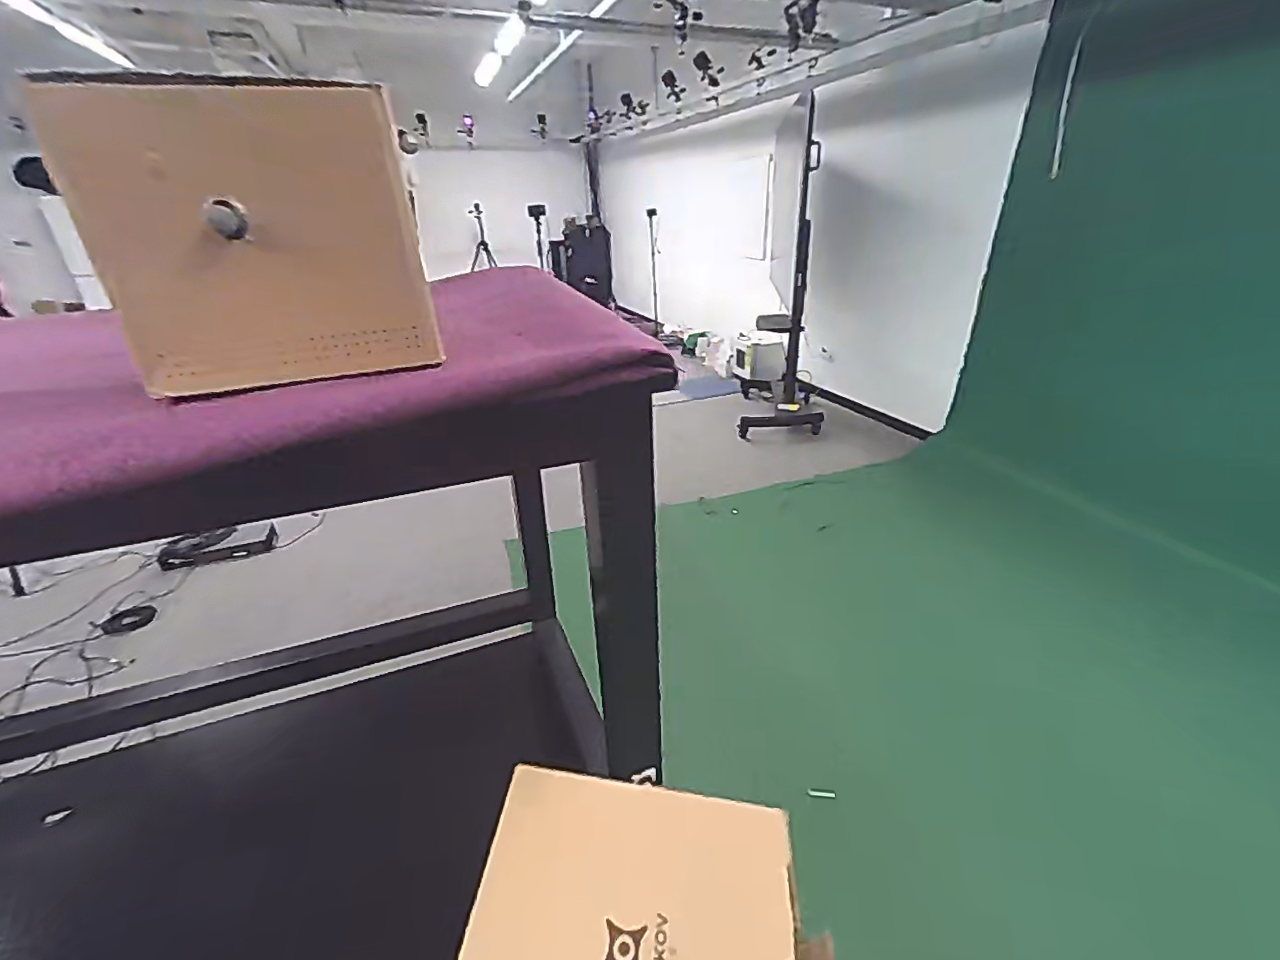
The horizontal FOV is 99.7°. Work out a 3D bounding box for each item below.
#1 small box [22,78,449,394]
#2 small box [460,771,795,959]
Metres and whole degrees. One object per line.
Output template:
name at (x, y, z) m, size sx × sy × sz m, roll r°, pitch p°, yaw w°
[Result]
small box at (-0.252, -0.168, 0.396) m, size 0.179 × 0.176 × 0.168 m, roll -13°, pitch 26°, yaw -17°
small box at (-0.010, 0.313, 0.329) m, size 0.179 × 0.176 × 0.168 m, roll 8°, pitch 35°, yaw 3°
